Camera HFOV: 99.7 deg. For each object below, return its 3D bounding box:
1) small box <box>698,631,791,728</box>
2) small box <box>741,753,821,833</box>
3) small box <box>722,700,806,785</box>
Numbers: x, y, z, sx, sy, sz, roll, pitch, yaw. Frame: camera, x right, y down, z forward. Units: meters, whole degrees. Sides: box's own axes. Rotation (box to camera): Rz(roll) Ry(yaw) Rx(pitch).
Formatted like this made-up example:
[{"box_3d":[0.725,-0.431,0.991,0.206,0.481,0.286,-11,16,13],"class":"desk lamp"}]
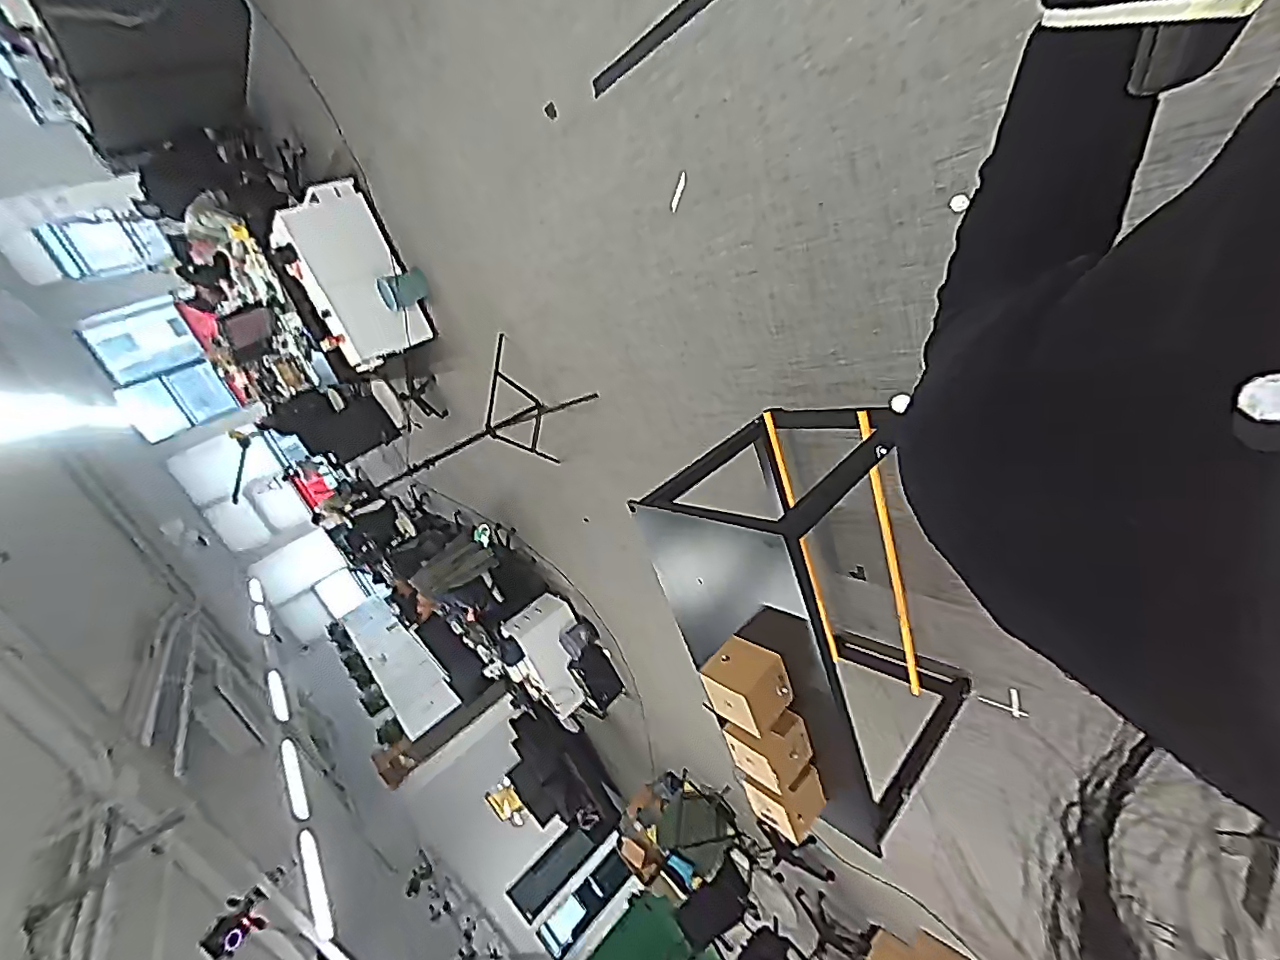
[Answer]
[{"box_3d":[0.301,0.559,1.547,0.179,0.176,0.168,8,127,52],"class":"small box"},{"box_3d":[0.456,0.965,1.729,0.168,0.176,0.179,10,127,51],"class":"small box"},{"box_3d":[0.383,0.766,1.635,0.179,0.176,0.168,10,127,51],"class":"small box"}]
